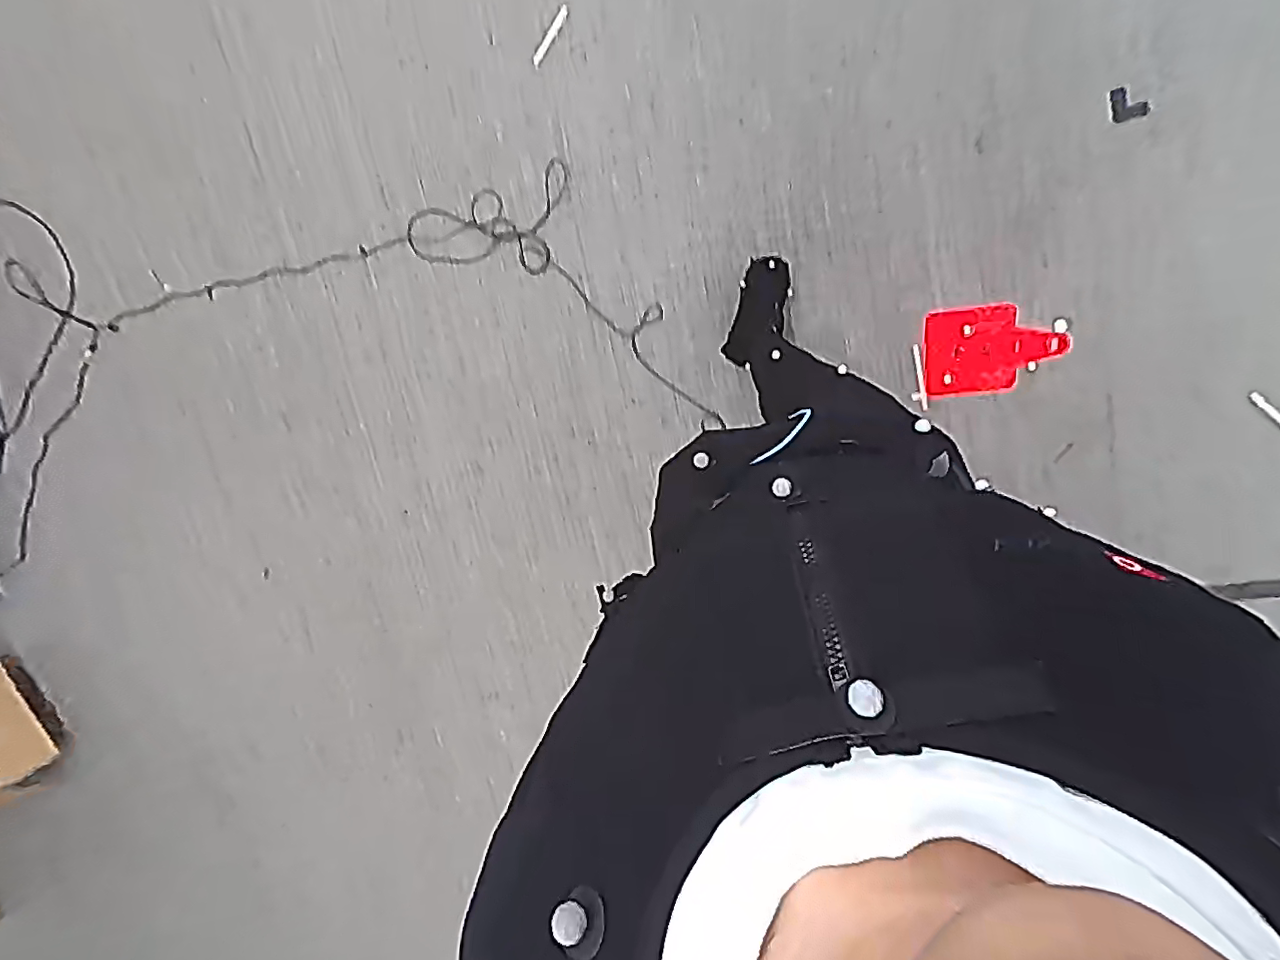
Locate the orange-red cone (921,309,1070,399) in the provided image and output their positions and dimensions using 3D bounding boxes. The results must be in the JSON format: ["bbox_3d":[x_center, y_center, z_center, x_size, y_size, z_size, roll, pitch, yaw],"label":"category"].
[{"bbox_3d":[0.742,-0.259,1.095,0.199,0.360,0.198,-3,101,8],"label":"orange-red cone"}]
